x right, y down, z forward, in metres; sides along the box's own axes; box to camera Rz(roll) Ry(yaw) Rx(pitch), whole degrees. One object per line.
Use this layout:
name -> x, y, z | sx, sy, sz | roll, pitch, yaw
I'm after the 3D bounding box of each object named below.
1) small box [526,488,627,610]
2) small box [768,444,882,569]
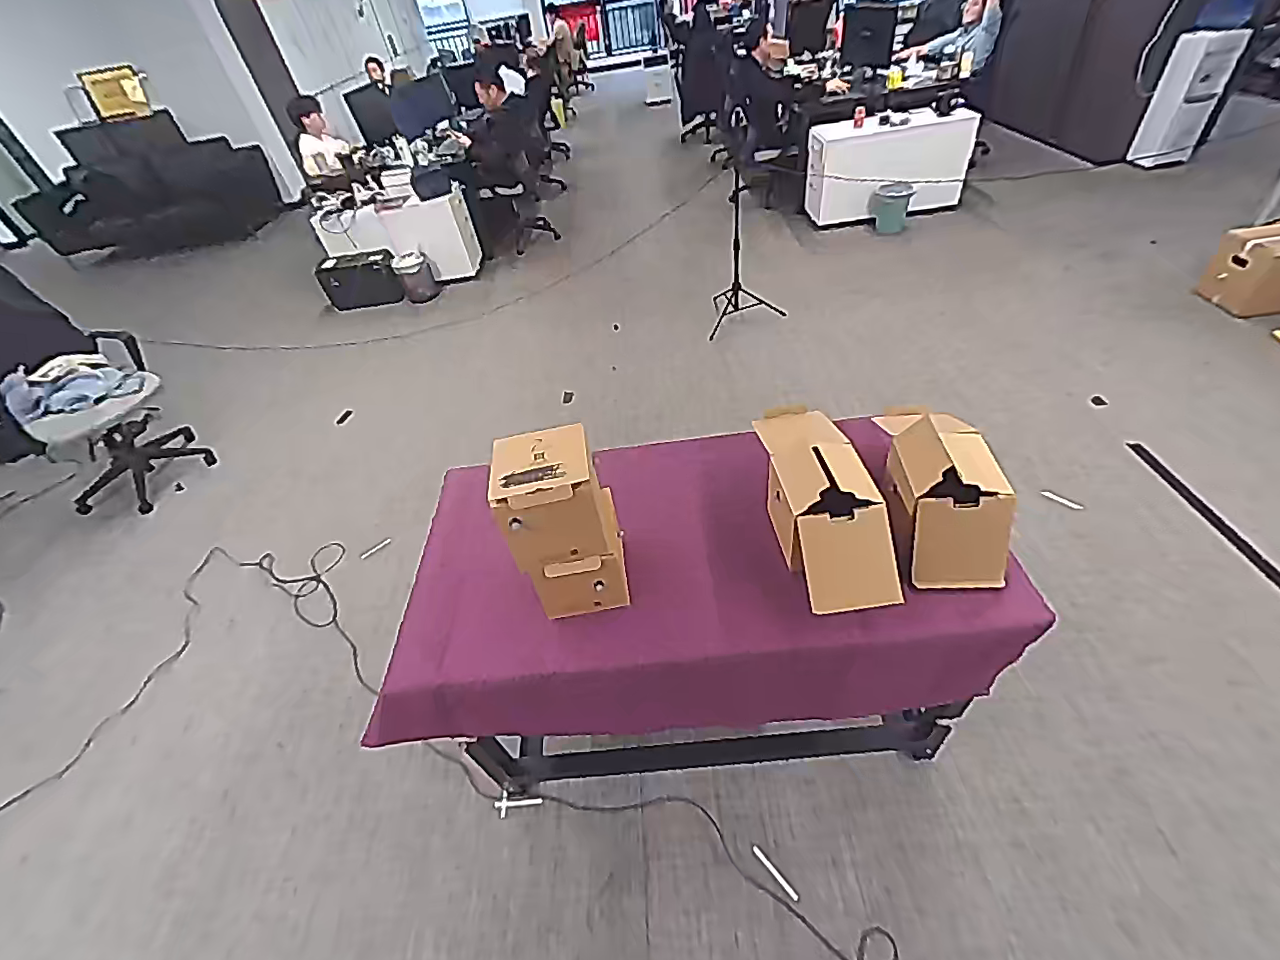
small box -> -0.123, 0.144, 1.081 | 0.168, 0.176, 0.179 | -9, 43, 0
small box -> 0.357, 0.053, 1.084 | 0.168, 0.176, 0.179 | -9, 44, 2
